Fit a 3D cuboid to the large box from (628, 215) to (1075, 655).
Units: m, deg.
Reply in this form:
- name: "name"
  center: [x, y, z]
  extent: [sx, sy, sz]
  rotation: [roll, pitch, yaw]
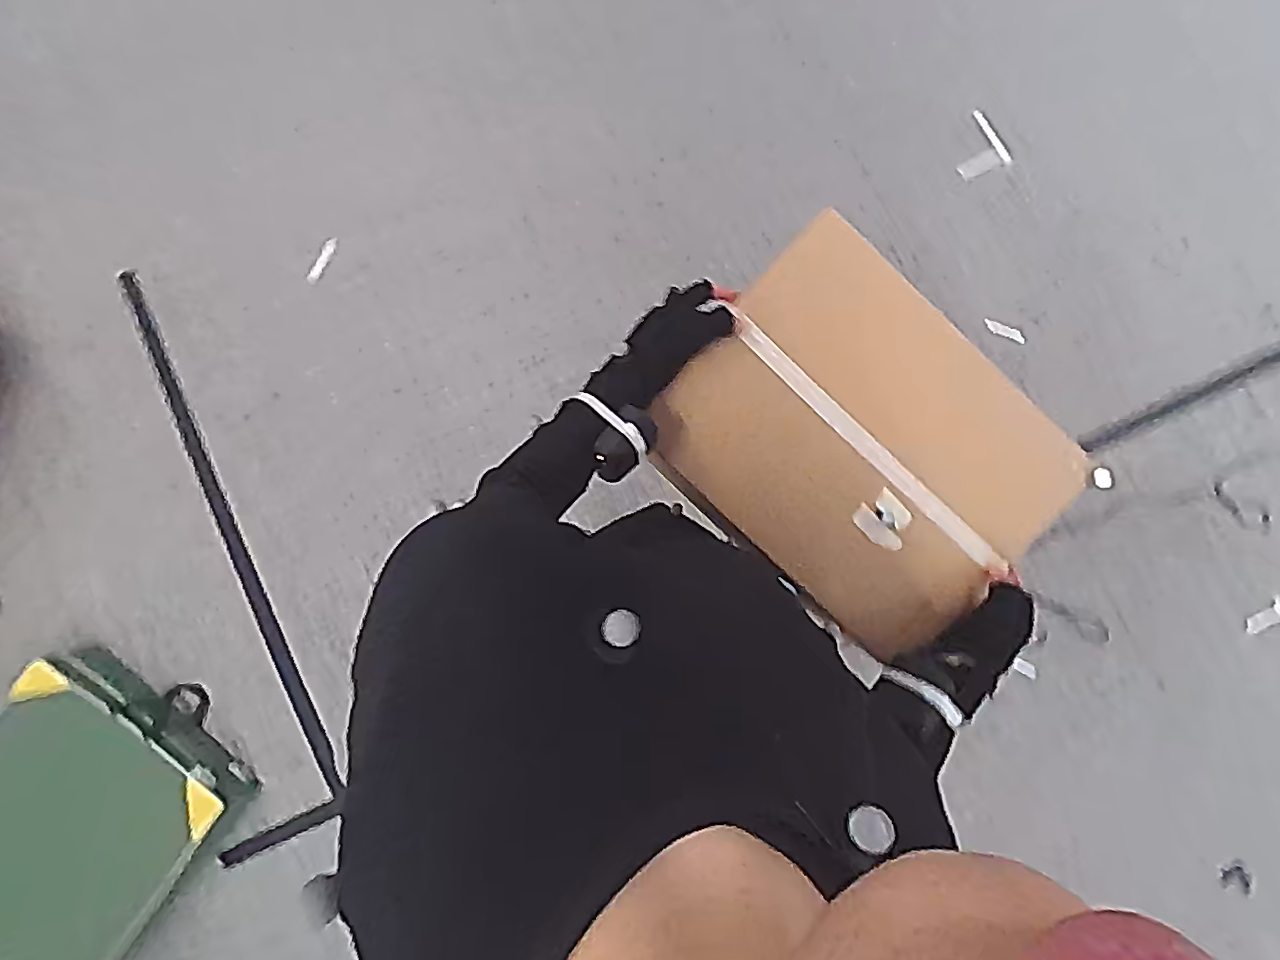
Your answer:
- name: "large box"
  center: [0.230, -0.052, 0.738]
  extent: [0.408, 0.320, 0.320]
  rotation: [43, 91, -3]
